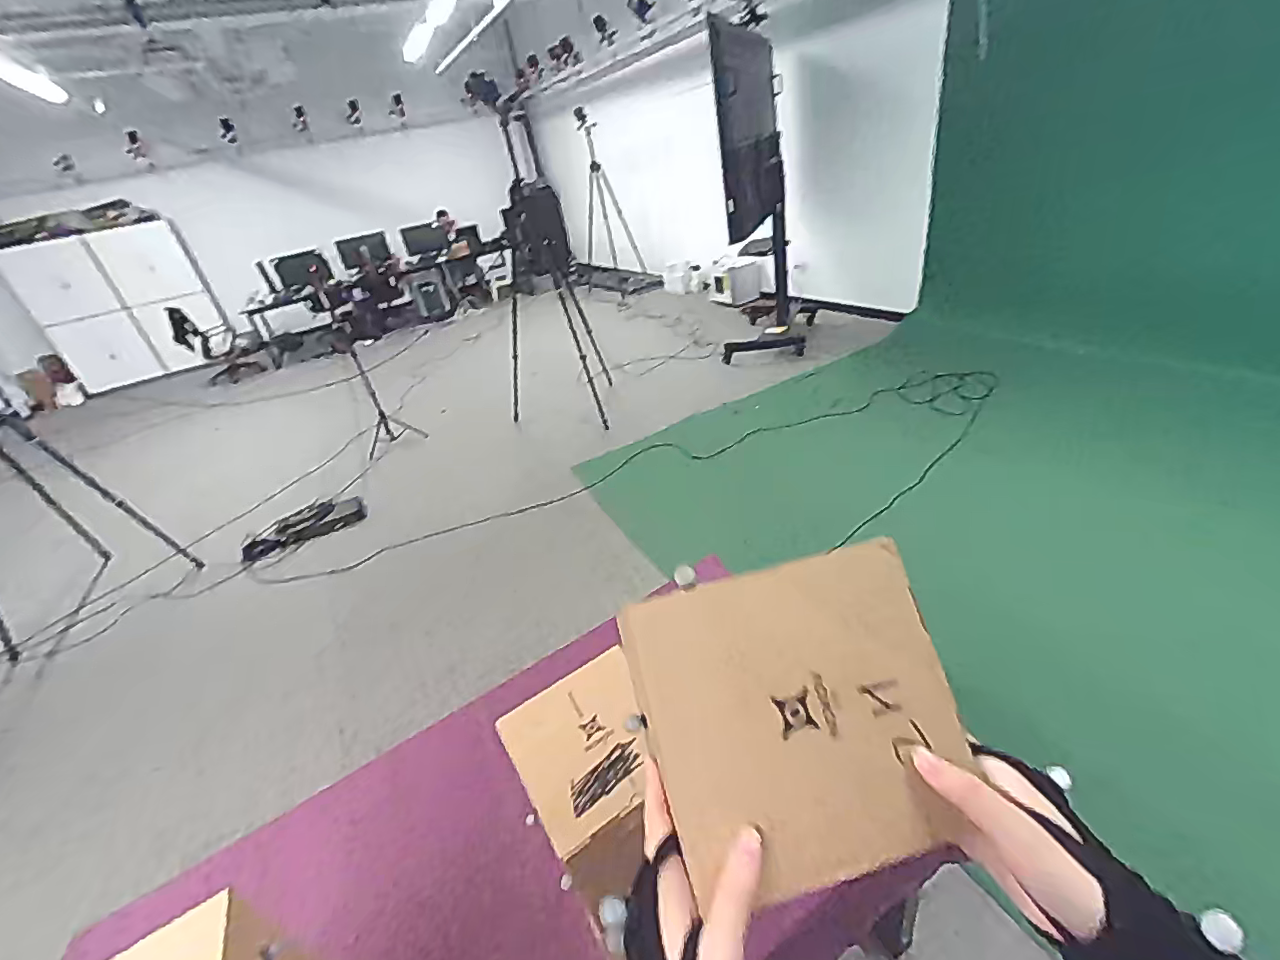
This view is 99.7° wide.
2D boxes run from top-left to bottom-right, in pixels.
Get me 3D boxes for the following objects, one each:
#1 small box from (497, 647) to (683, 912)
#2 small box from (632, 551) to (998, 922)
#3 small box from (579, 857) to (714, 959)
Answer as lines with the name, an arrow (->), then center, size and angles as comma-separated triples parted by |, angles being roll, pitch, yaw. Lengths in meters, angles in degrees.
small box -> -0.032, 0.335, 0.609 | 0.168, 0.176, 0.179 | -27, 34, -23
small box -> 0.094, 0.158, 0.386 | 0.179, 0.168, 0.176 | -13, -13, -7
small box -> -0.003, 0.474, 0.693 | 0.168, 0.176, 0.179 | -28, 34, -21
